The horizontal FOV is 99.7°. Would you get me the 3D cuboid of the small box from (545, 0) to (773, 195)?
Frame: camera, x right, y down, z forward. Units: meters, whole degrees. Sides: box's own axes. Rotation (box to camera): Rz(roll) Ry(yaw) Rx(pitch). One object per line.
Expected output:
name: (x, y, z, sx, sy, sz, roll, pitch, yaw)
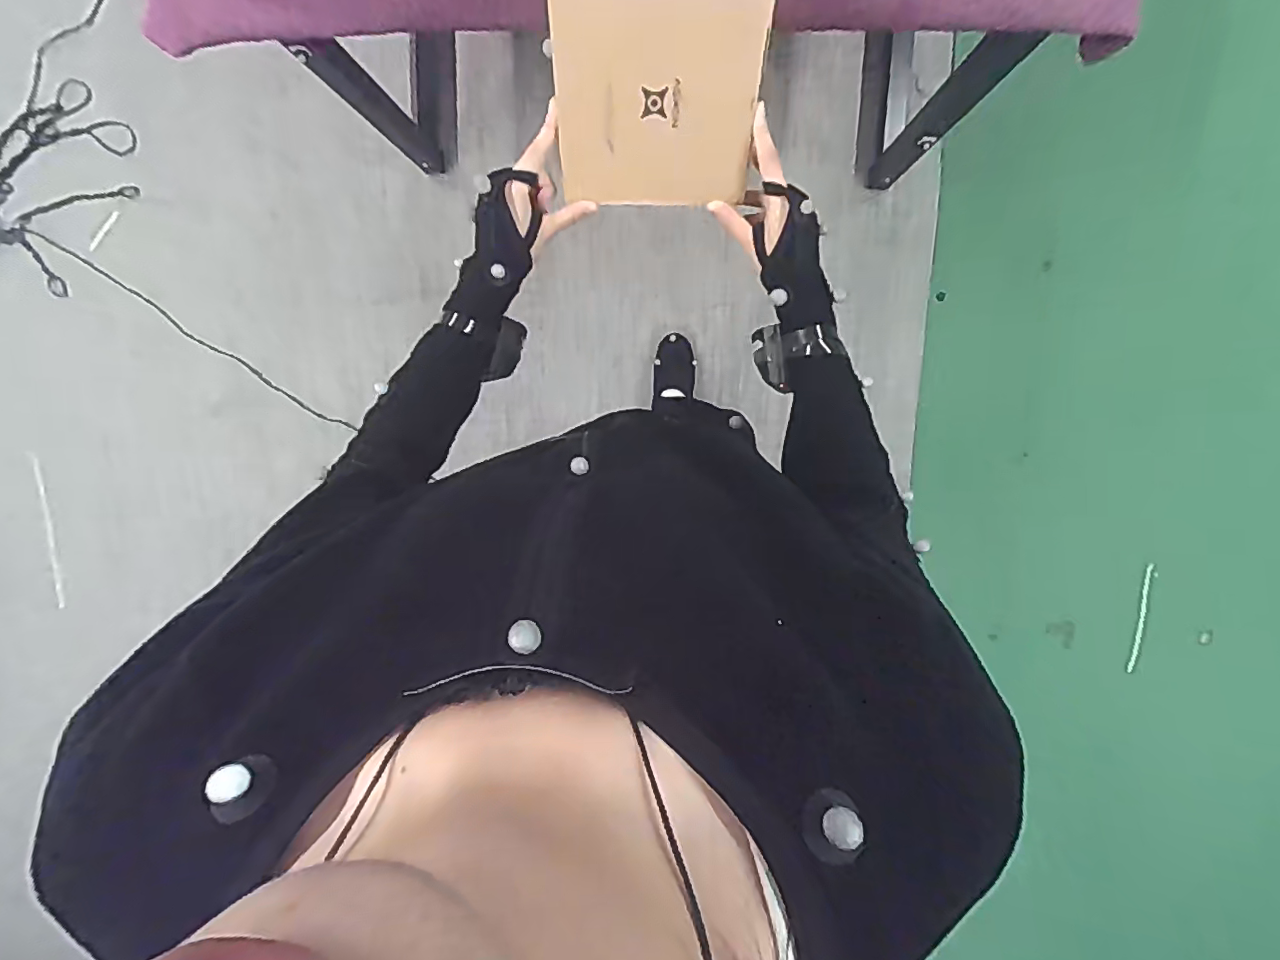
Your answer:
small box: (0.009, -0.383, 0.502, 0.179, 0.176, 0.168, 0, 135, -3)
